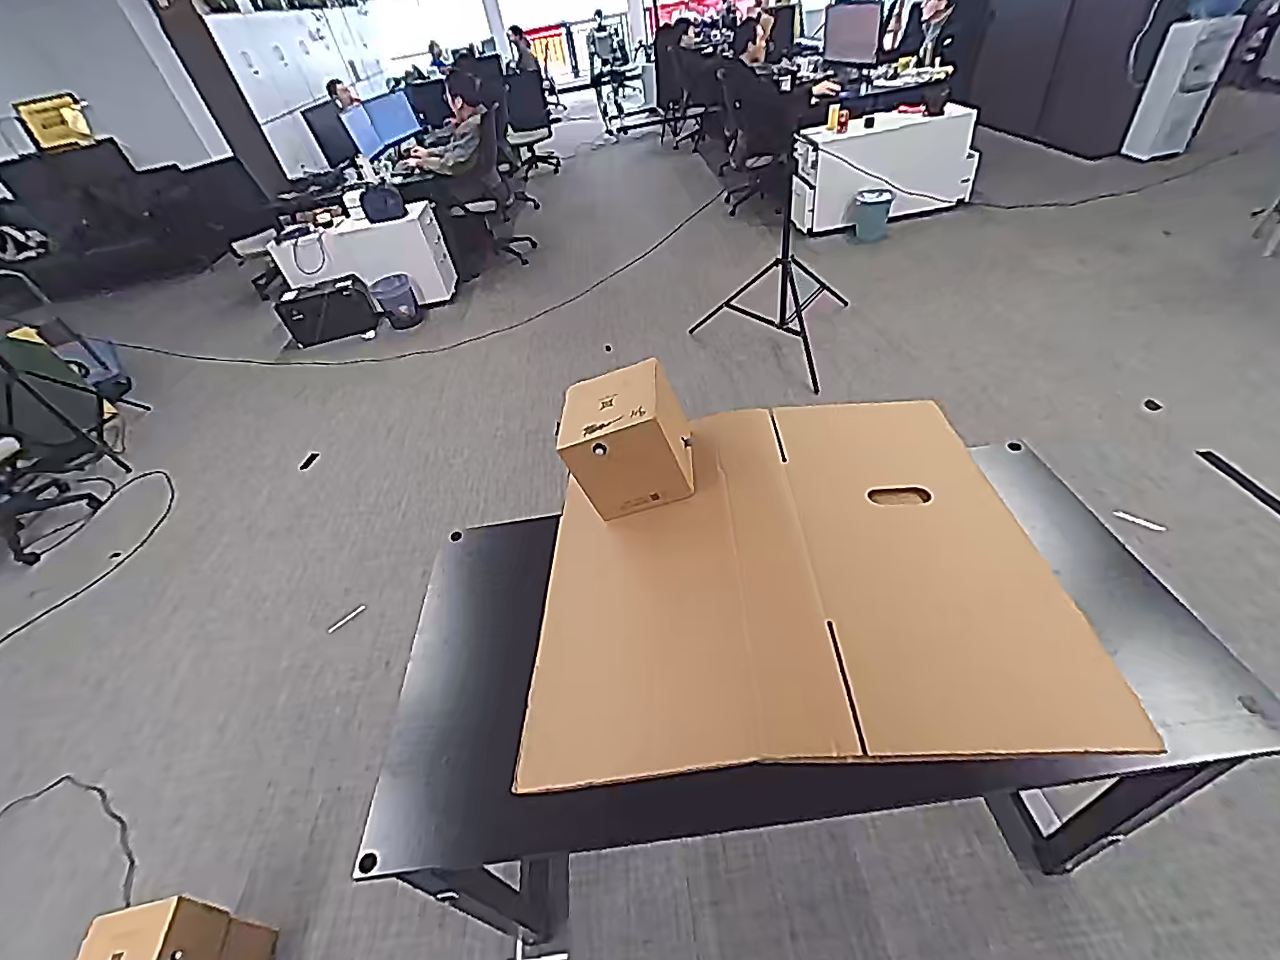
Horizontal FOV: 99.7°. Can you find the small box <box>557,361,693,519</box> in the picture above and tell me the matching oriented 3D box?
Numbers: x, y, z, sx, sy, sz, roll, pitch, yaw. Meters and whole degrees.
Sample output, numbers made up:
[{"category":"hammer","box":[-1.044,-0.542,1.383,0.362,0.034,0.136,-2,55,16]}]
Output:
[{"category":"small box","box":[-0.016,-0.064,0.901,0.168,0.176,0.179,-17,38,16]}]

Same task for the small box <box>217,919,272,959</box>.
[{"category":"small box","box":[-0.938,1.084,1.163,0.168,0.176,0.179,-12,43,-1]}]

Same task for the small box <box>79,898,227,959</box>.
[{"category":"small box","box":[-0.964,0.962,1.059,0.168,0.176,0.179,-13,41,-4]}]
